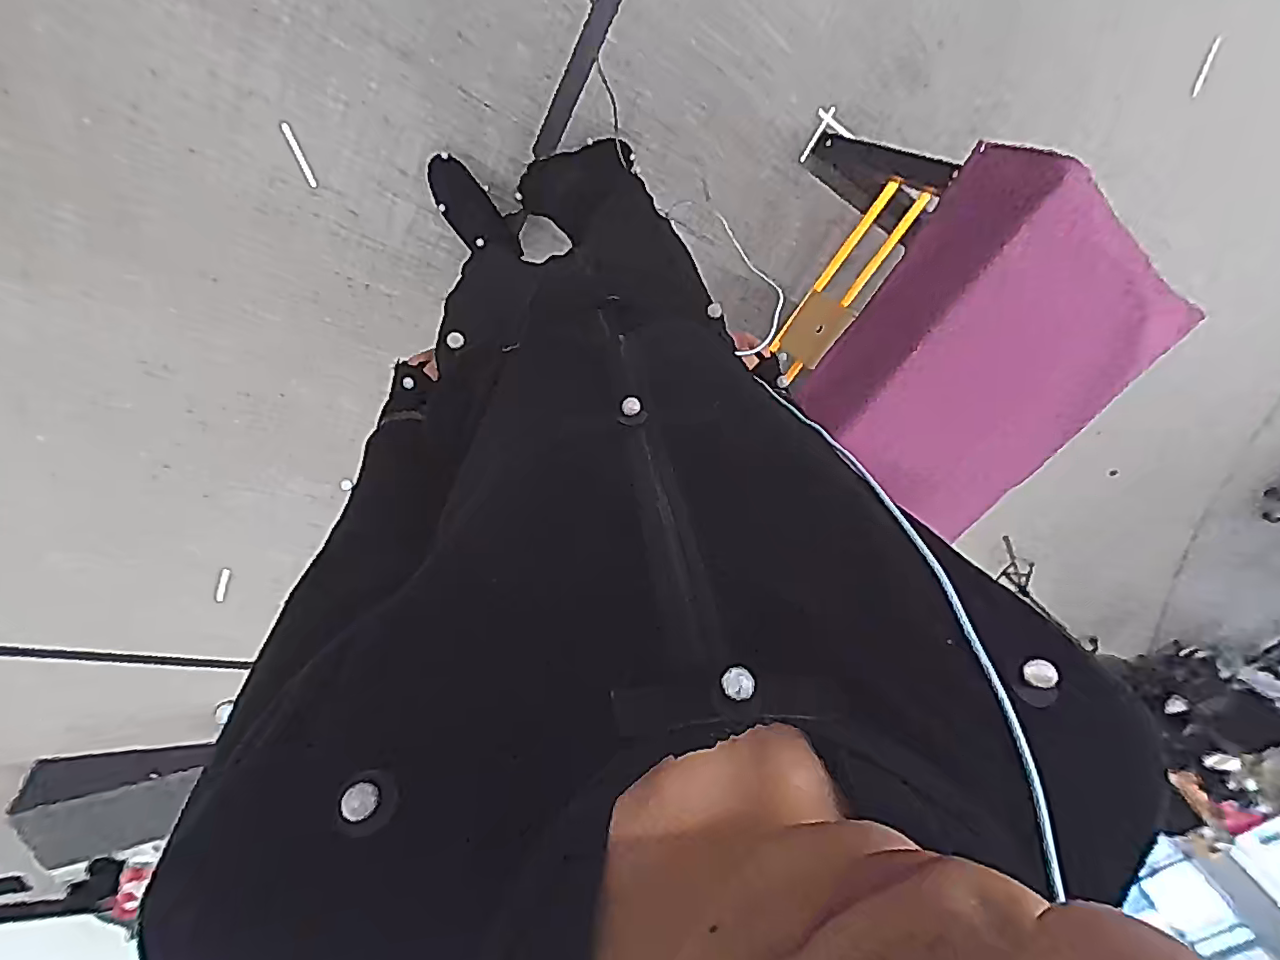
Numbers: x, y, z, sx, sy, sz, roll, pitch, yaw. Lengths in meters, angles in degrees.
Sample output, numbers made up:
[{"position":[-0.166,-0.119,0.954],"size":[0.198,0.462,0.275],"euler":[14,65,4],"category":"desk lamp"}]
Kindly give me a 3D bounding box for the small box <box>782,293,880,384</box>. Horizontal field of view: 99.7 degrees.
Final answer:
[{"position":[0.546,-0.413,1.571],"size":[0.168,0.176,0.179],"euler":[14,124,-30],"category":"small box"}]
